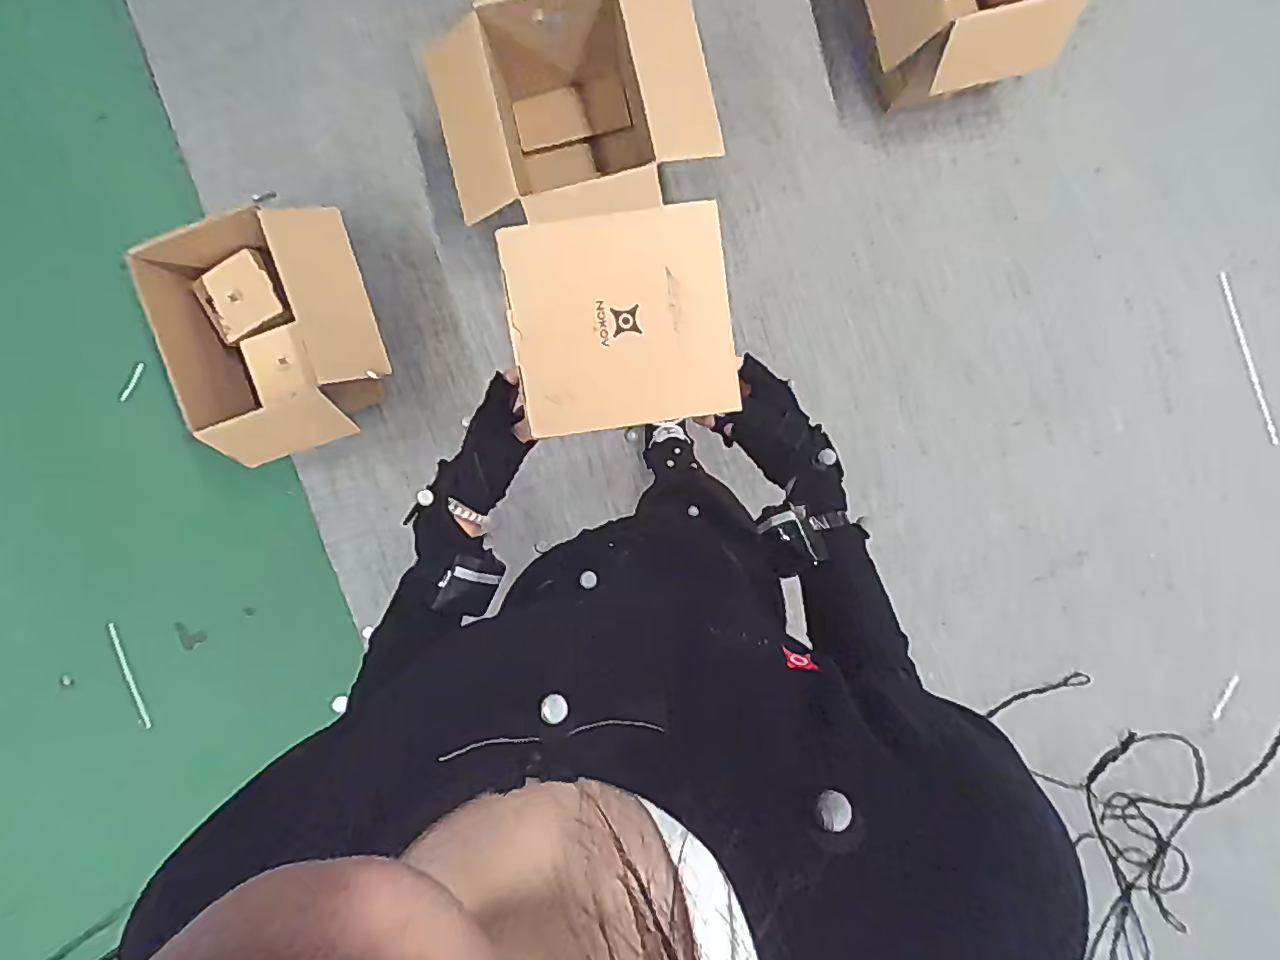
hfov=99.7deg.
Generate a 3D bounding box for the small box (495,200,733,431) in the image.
[{"bbox_3d":[-0.020,-0.138,0.513,0.179,0.176,0.168,-8,97,-1],"label":"small box"}]

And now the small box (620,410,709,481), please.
[{"bbox_3d":[0.061,-0.133,1.389,0.168,0.176,0.179,32,67,23],"label":"small box"}]
